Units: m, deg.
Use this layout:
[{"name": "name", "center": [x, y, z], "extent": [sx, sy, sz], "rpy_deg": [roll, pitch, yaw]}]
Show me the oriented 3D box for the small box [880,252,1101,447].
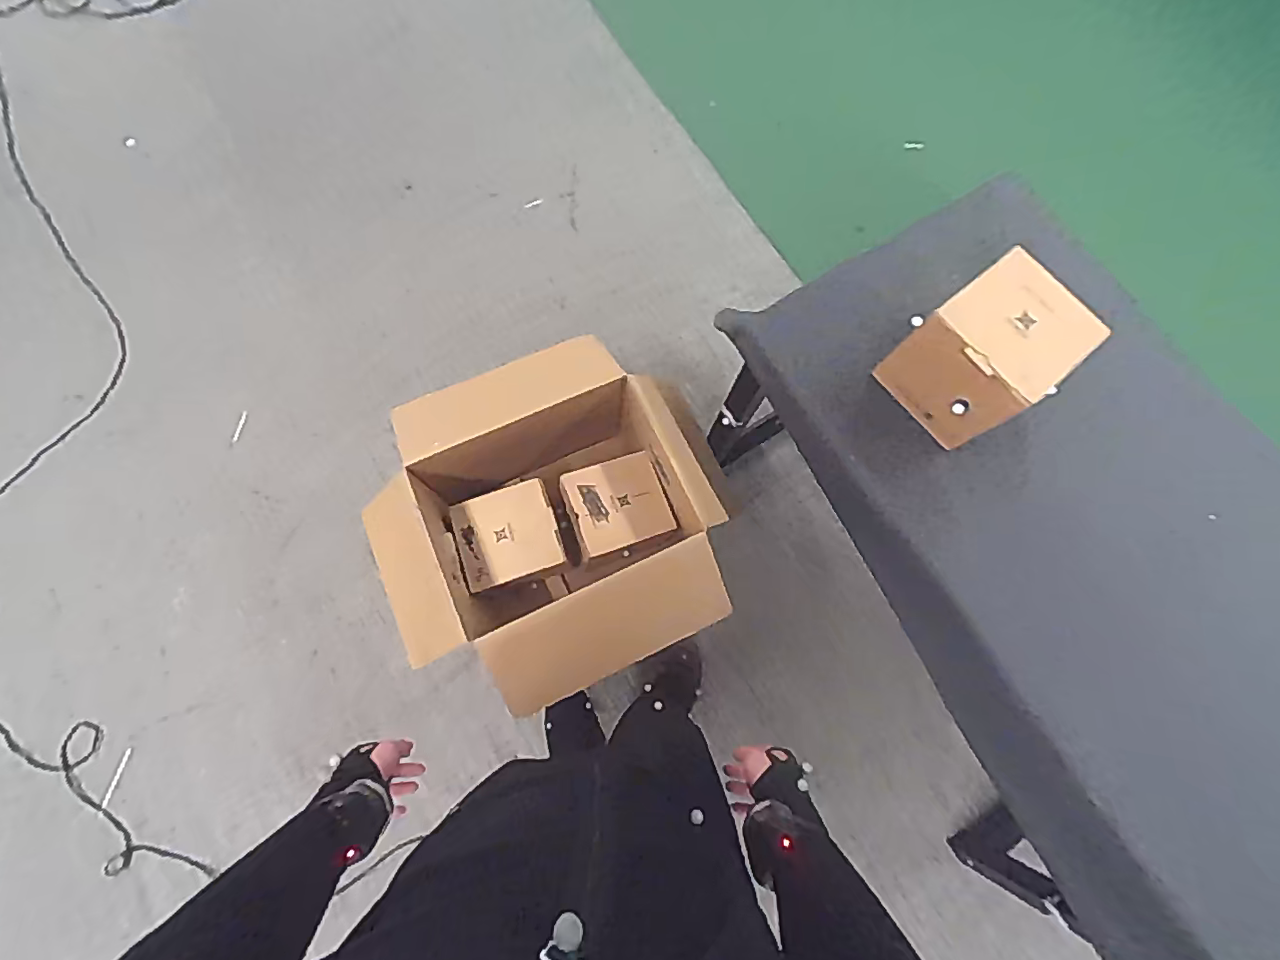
[{"name": "small box", "center": [0.476, -0.174, 0.769], "extent": [0.179, 0.176, 0.168], "rpy_deg": [-38, 81, -15]}]
